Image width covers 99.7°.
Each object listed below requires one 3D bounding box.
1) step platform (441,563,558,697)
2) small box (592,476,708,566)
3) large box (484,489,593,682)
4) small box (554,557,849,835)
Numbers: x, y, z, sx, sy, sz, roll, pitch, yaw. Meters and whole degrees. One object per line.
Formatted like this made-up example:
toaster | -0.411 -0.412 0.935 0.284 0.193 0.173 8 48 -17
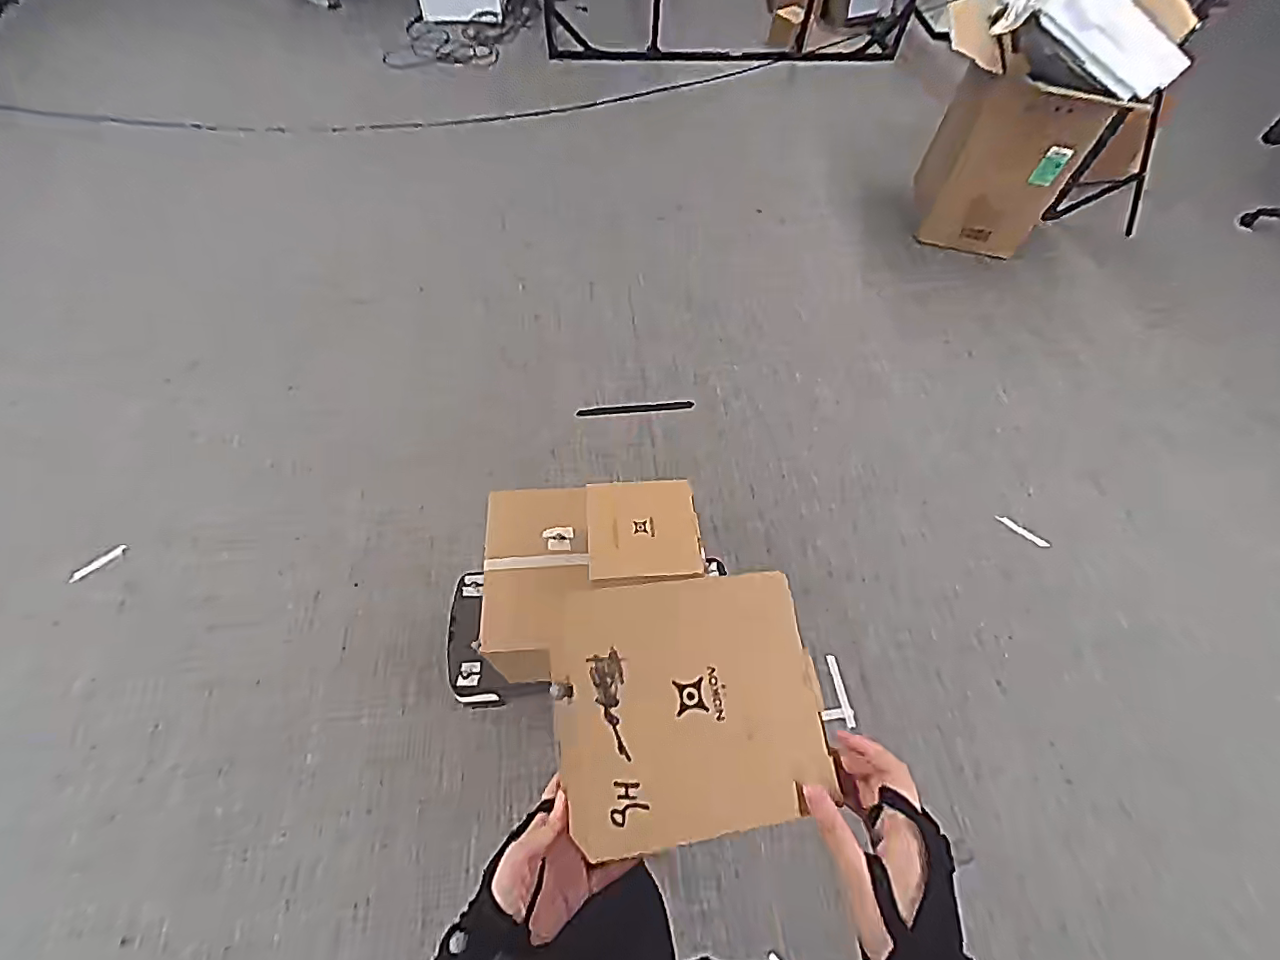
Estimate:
step platform | -0.117 0.366 1.312 0.684 0.204 0.286 1 60 -1
small box | 0.009 0.106 0.909 0.179 0.176 0.168 -2 61 -3
large box | -0.080 0.222 1.121 0.408 0.320 0.320 -3 59 -4
small box | 0.029 0.168 0.441 0.179 0.176 0.168 -1 64 -15
